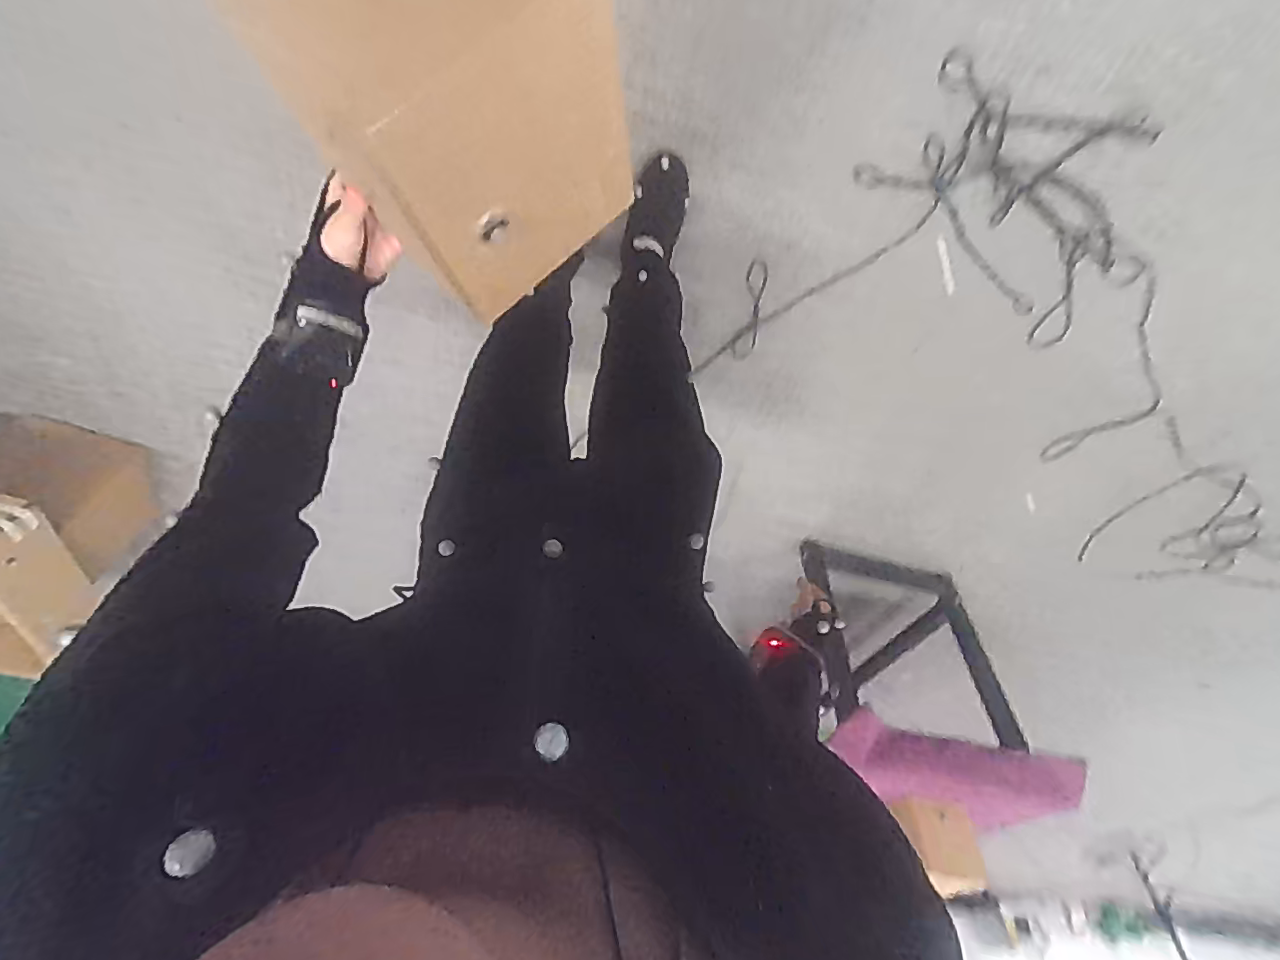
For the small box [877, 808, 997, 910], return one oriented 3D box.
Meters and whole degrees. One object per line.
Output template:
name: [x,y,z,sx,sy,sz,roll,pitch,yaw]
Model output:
small box: [0.726,0.942,1.348,0.179,0.176,0.168,17,131,-10]
